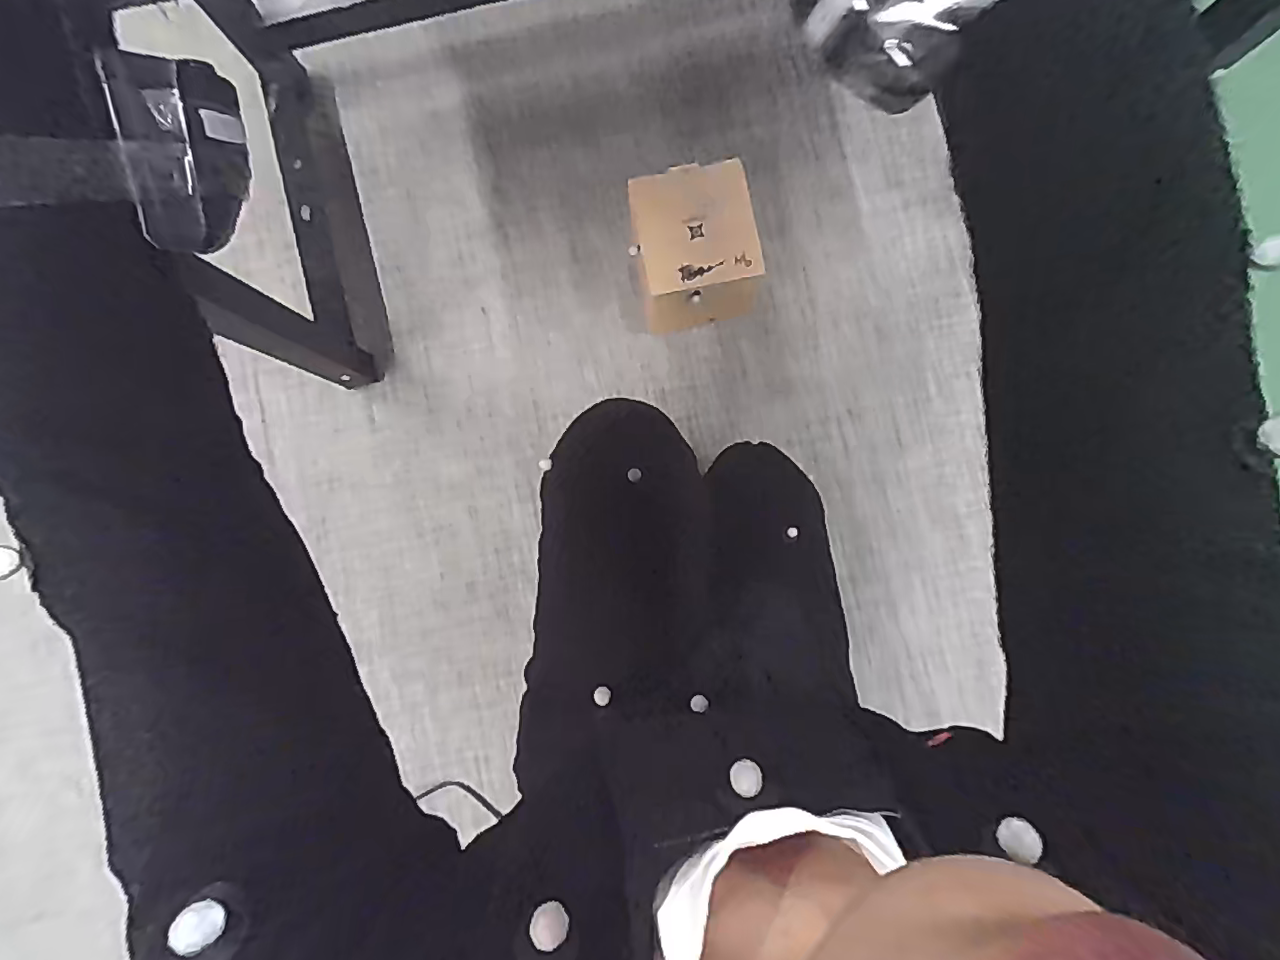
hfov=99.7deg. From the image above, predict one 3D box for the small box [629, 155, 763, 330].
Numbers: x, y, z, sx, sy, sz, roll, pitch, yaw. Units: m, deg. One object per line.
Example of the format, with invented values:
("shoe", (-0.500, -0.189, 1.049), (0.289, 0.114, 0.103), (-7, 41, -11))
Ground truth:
("small box", (0.079, -0.357, 0.841), (0.168, 0.176, 0.179), (-11, 85, 1))
